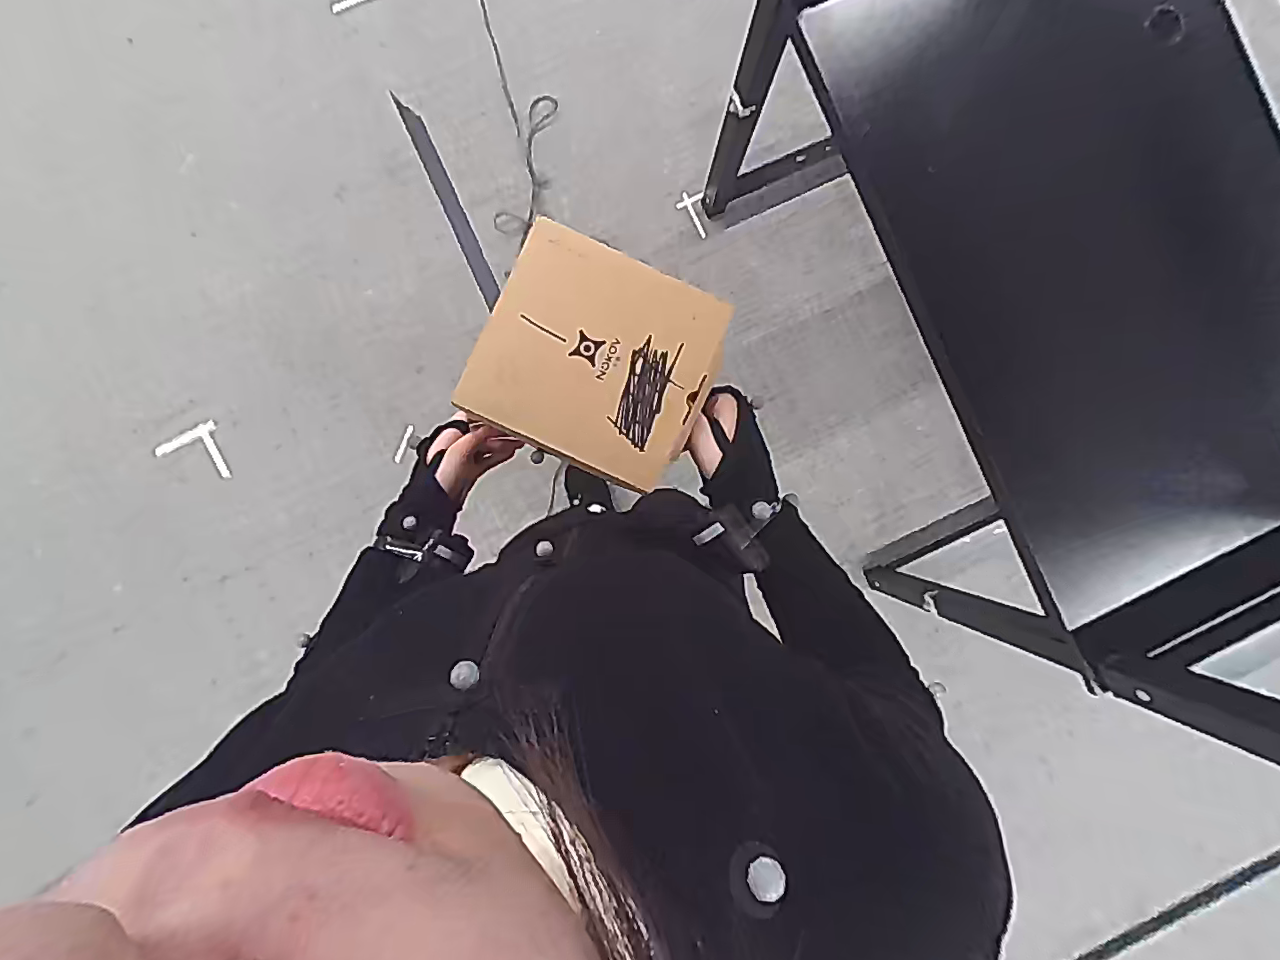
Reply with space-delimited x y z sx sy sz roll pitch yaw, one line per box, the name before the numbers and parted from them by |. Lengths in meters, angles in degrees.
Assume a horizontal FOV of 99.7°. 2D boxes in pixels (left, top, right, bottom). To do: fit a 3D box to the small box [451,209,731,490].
small box | -0.048 -0.104 0.504 0.179 0.176 0.168 25 88 -11
